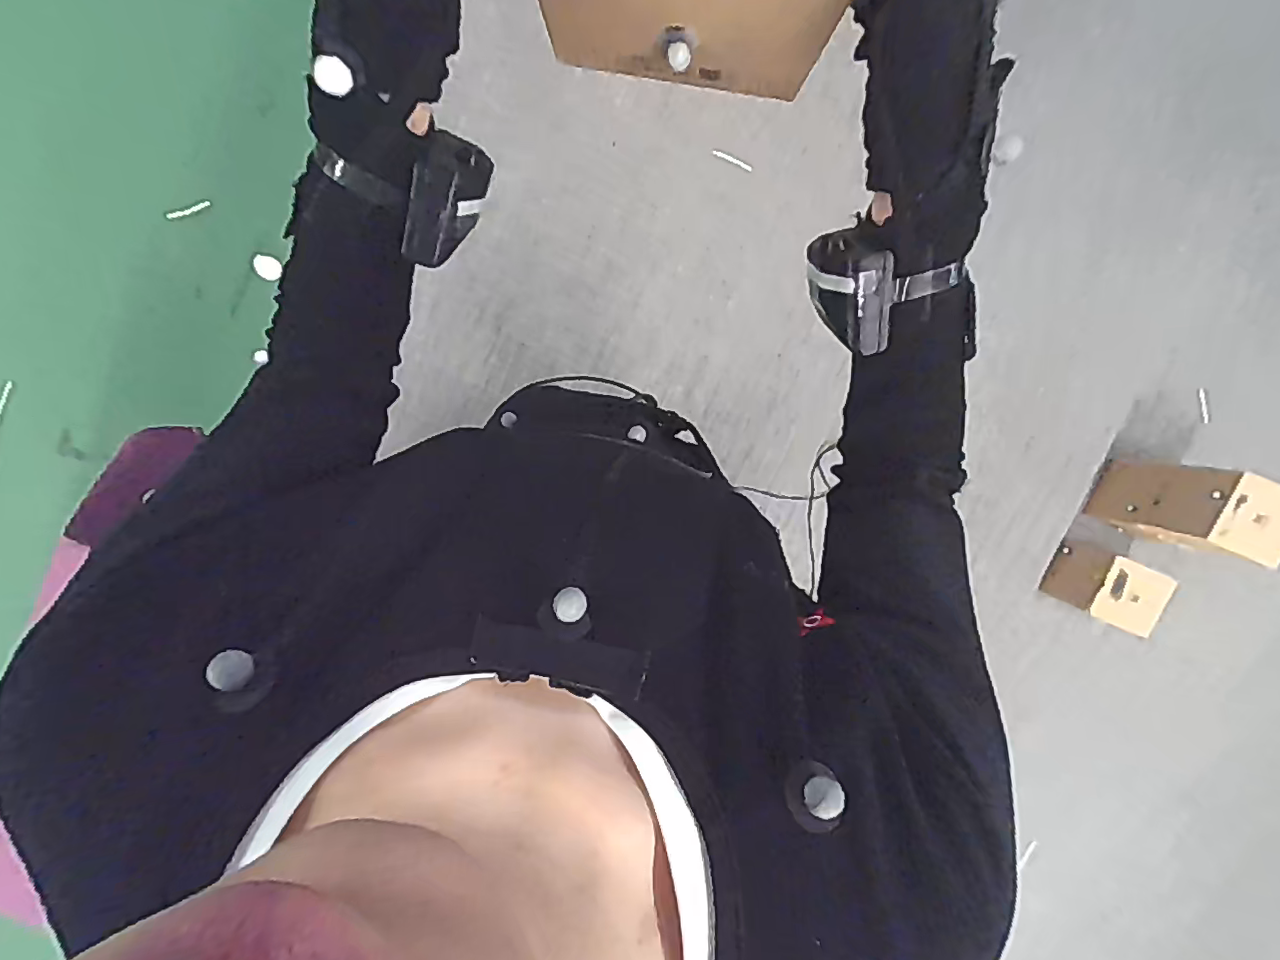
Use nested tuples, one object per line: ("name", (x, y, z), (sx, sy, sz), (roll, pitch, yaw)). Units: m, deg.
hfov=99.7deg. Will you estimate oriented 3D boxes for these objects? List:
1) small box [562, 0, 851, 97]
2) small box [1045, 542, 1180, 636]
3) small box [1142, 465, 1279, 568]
("small box", (0.042, -0.341, 0.272), (0.168, 0.176, 0.179), (10, 103, -1))
("small box", (1.225, 0.277, 1.418), (0.179, 0.176, 0.168), (23, 97, -3))
("small box", (1.325, 0.073, 1.229), (0.179, 0.176, 0.168), (23, 96, -3))
